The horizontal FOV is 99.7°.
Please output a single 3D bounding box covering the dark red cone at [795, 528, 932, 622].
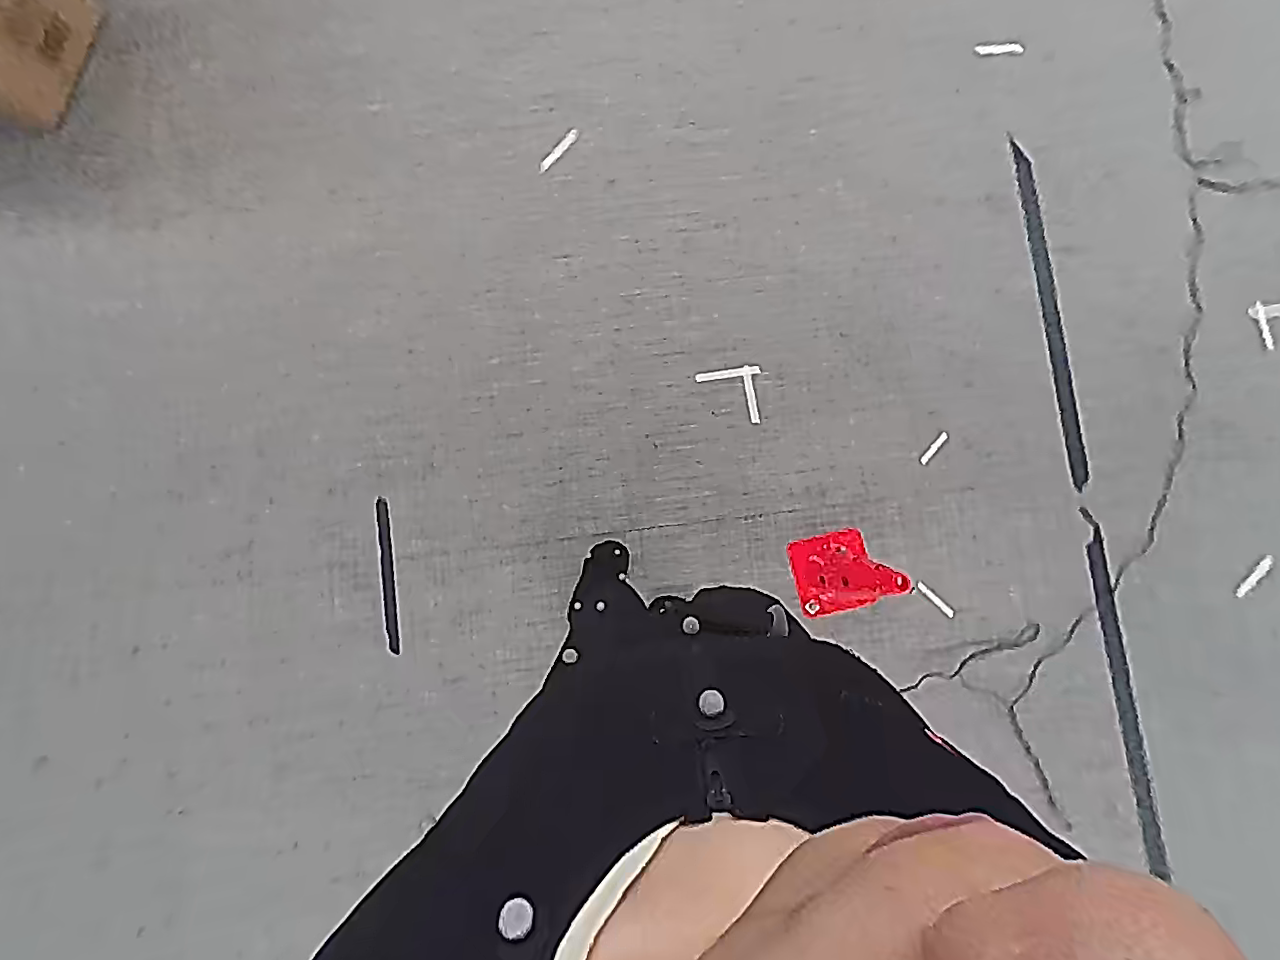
[{"bbox_3d":[0.506,0.215,1.178,0.201,0.394,0.202,-14,84,-4],"label":"dark red cone"}]
